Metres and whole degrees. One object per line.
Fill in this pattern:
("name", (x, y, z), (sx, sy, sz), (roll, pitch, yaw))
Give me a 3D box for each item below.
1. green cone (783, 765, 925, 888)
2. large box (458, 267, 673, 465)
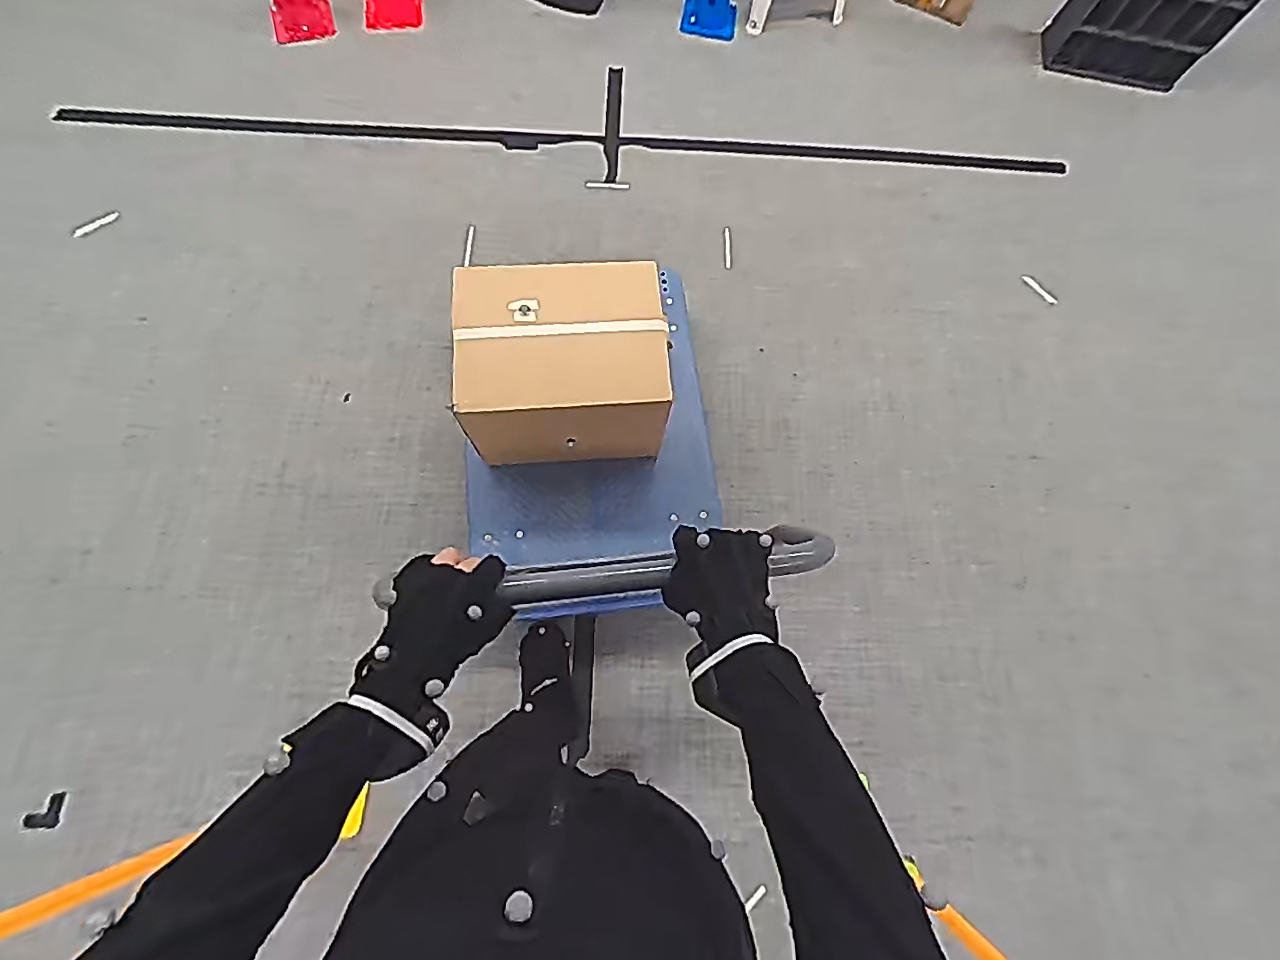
("green cone", (0.437, 0.717, 1.071), (0.202, 0.368, 0.200), (6, 72, -3))
("large box", (-0.154, -0.231, 1.184), (0.408, 0.320, 0.320), (-4, 73, -4))
